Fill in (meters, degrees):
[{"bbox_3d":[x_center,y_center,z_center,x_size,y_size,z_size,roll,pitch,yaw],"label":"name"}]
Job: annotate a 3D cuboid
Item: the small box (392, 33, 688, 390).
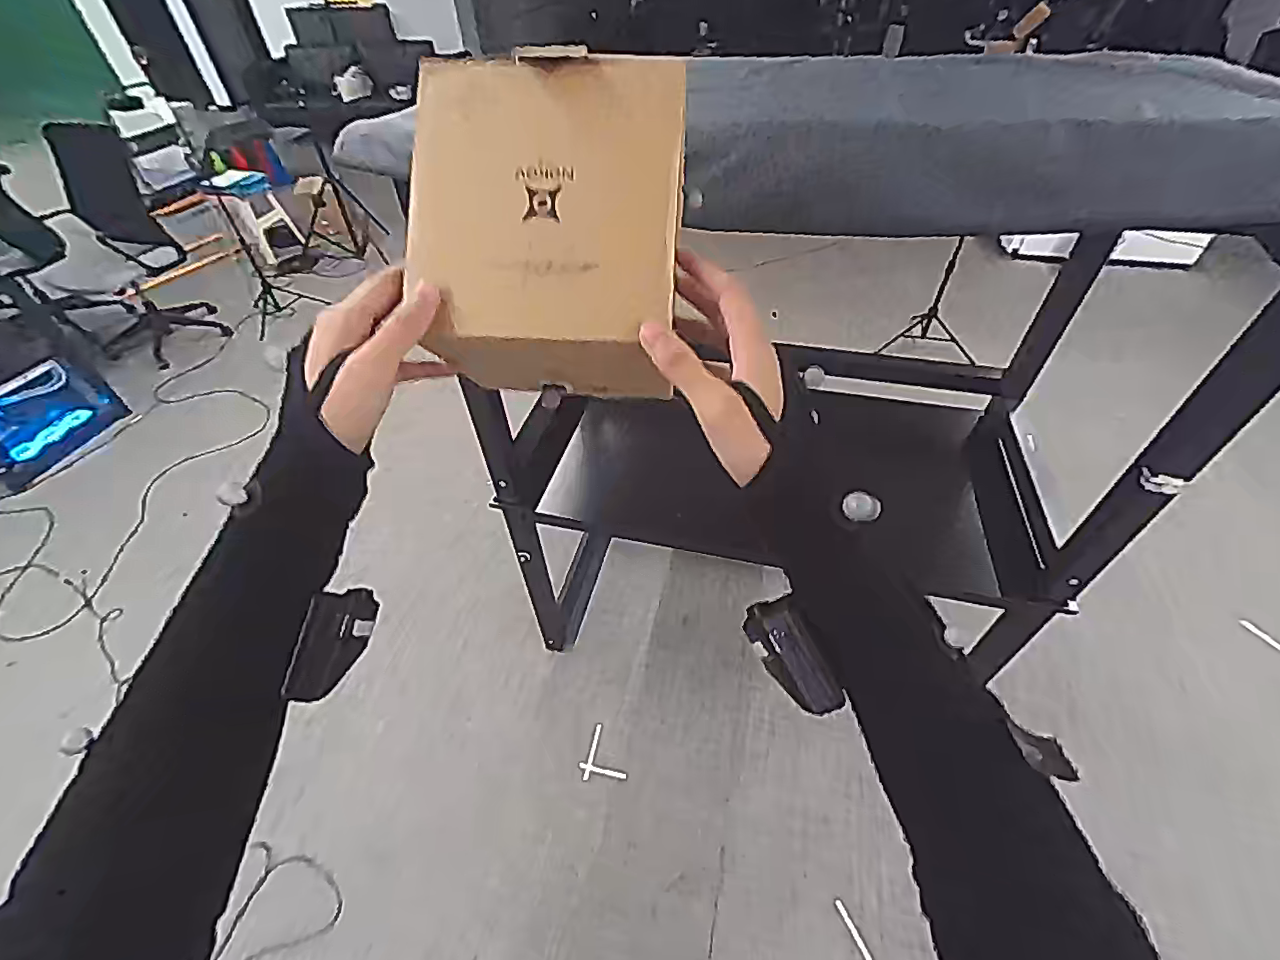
[{"bbox_3d":[-0.054,-0.174,0.396,0.168,0.176,0.179,3,87,4],"label":"small box"}]
